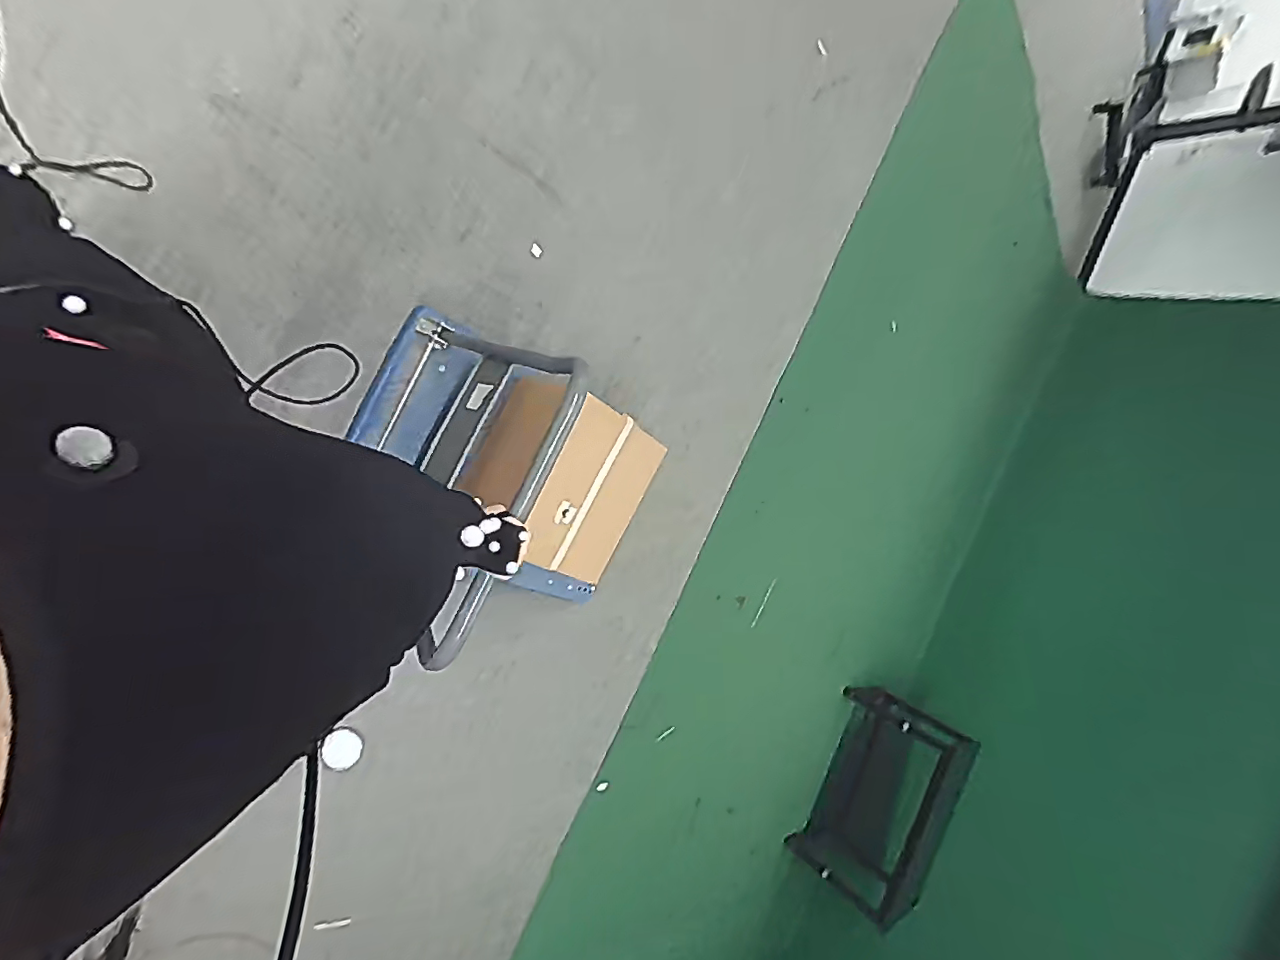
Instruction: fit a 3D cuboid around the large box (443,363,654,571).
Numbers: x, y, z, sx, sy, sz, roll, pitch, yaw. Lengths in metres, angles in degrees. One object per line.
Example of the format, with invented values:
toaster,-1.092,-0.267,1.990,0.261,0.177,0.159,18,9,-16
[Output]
large box,-0.237,-0.038,1.398,0.320,0.320,0.408,31,86,-42
